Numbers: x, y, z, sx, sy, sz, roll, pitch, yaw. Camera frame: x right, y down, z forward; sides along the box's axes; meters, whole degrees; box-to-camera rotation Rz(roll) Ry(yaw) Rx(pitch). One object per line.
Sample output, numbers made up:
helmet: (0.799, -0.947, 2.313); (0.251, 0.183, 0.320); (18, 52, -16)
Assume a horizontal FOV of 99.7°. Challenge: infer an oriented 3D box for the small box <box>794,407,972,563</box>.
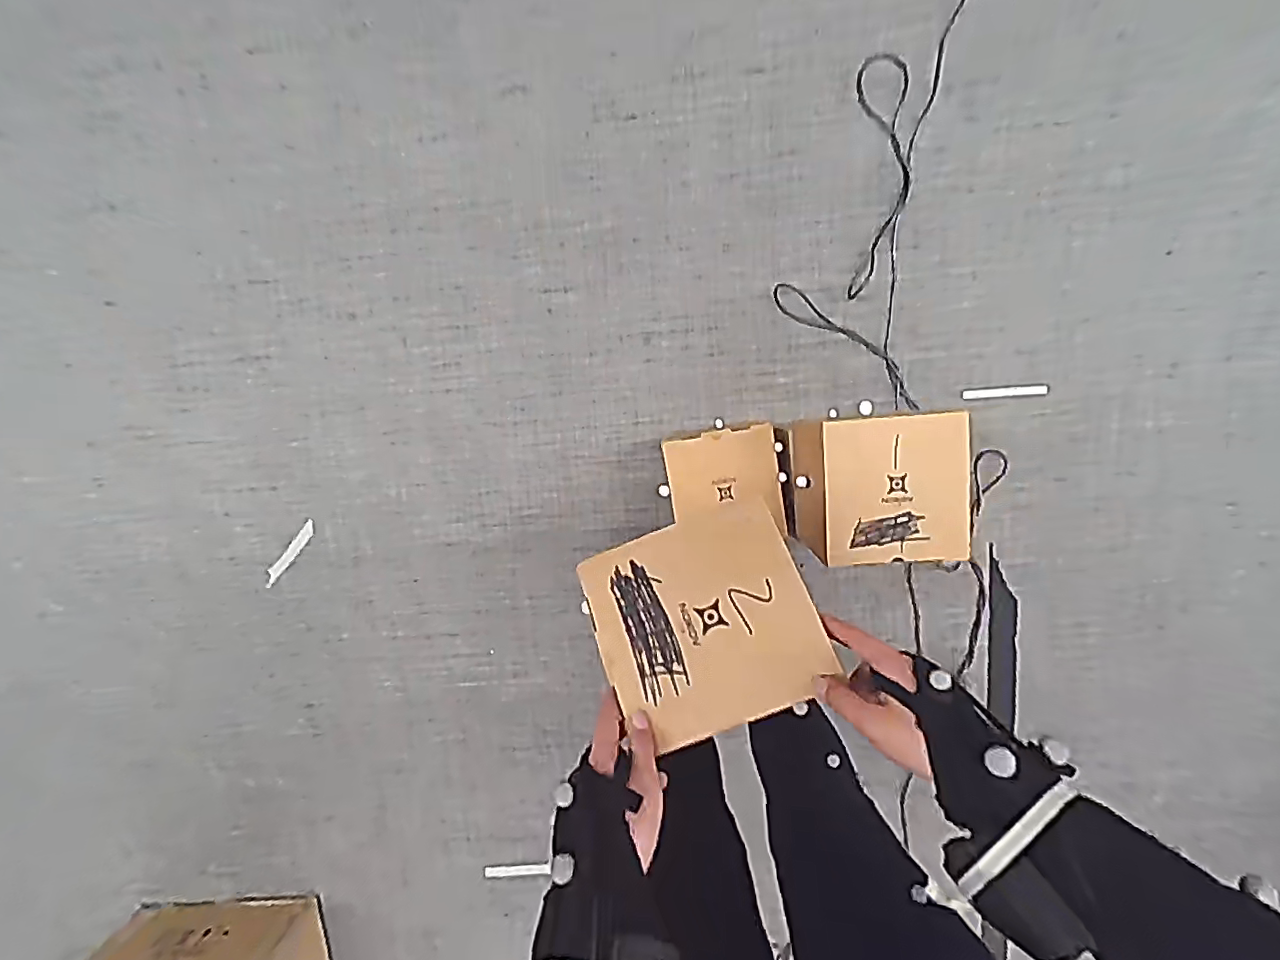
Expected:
small box: (0.300, -0.002, 0.698); (0.168, 0.176, 0.179); (-4, 96, 4)
